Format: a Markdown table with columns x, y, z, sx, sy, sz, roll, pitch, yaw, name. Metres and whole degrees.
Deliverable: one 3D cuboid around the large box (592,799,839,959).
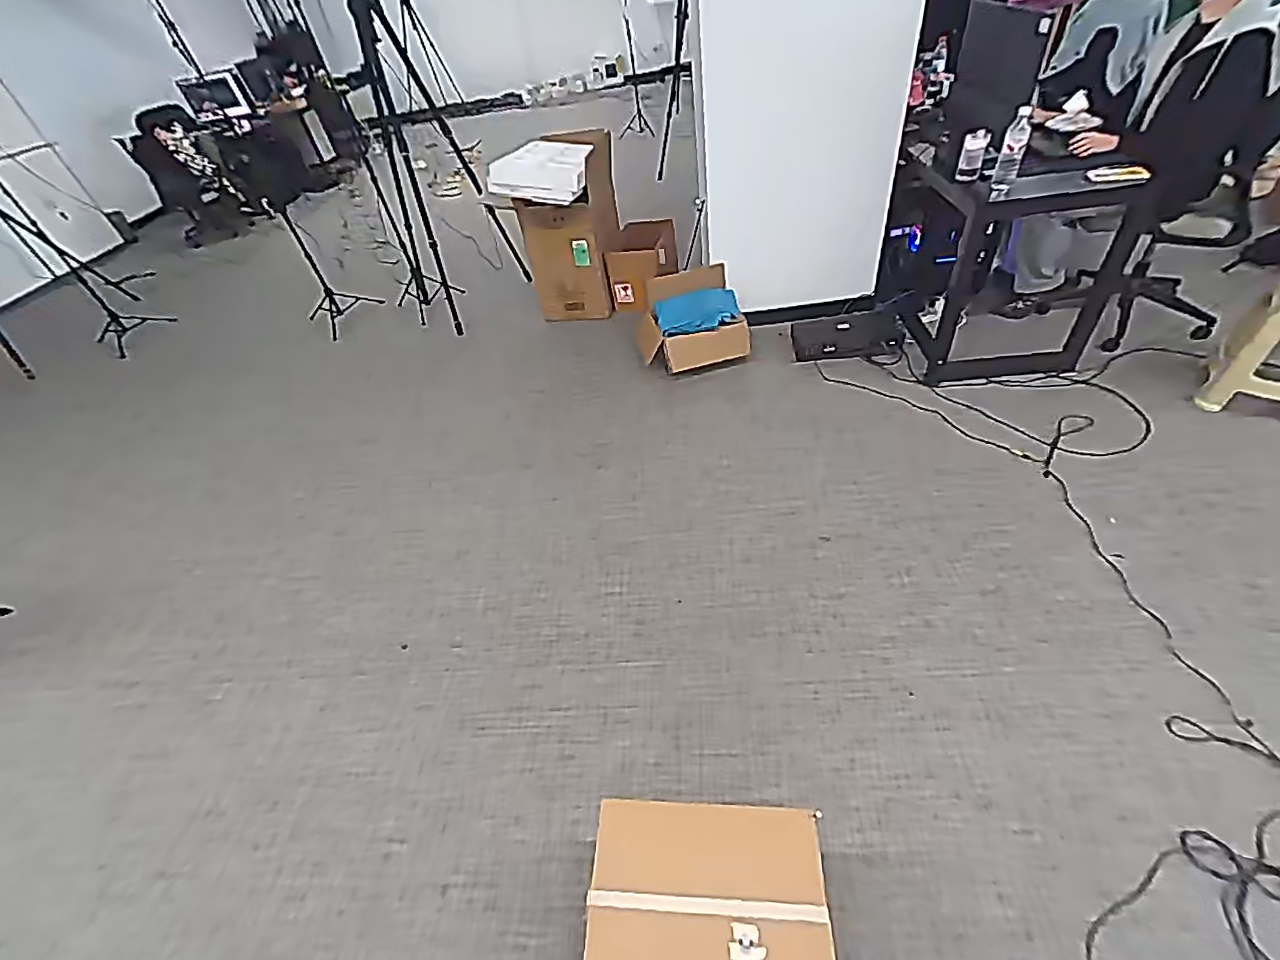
| x | y | z | sx | sy | sz | roll | pitch | yaw | name |
| --- | --- | --- | --- | --- | --- | --- | --- | --- | --- |
| 0.140 | 0.832 | 1.023 | 0.408 | 0.320 | 0.320 | -2 | 44 | 9 | large box |
